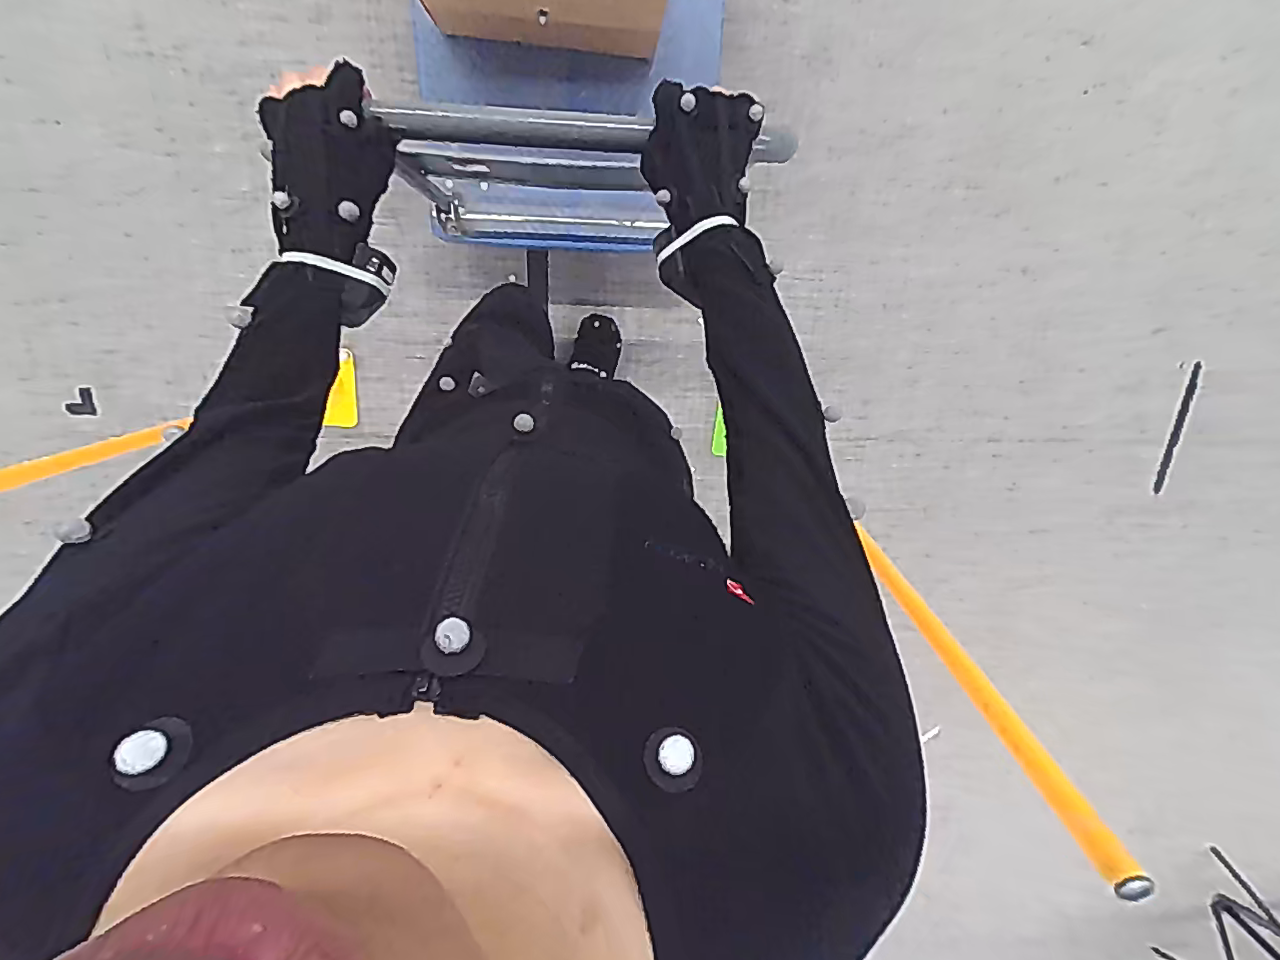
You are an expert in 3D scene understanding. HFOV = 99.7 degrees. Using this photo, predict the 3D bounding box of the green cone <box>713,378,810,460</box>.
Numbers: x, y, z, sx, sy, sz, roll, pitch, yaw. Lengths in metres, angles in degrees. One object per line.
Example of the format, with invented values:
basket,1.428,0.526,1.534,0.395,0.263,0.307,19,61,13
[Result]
green cone,0.321,-0.116,1.314,0.202,0.368,0.200,4,109,-7

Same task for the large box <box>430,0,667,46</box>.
large box,-0.149,-0.931,0.842,0.408,0.320,0.320,3,109,-4
